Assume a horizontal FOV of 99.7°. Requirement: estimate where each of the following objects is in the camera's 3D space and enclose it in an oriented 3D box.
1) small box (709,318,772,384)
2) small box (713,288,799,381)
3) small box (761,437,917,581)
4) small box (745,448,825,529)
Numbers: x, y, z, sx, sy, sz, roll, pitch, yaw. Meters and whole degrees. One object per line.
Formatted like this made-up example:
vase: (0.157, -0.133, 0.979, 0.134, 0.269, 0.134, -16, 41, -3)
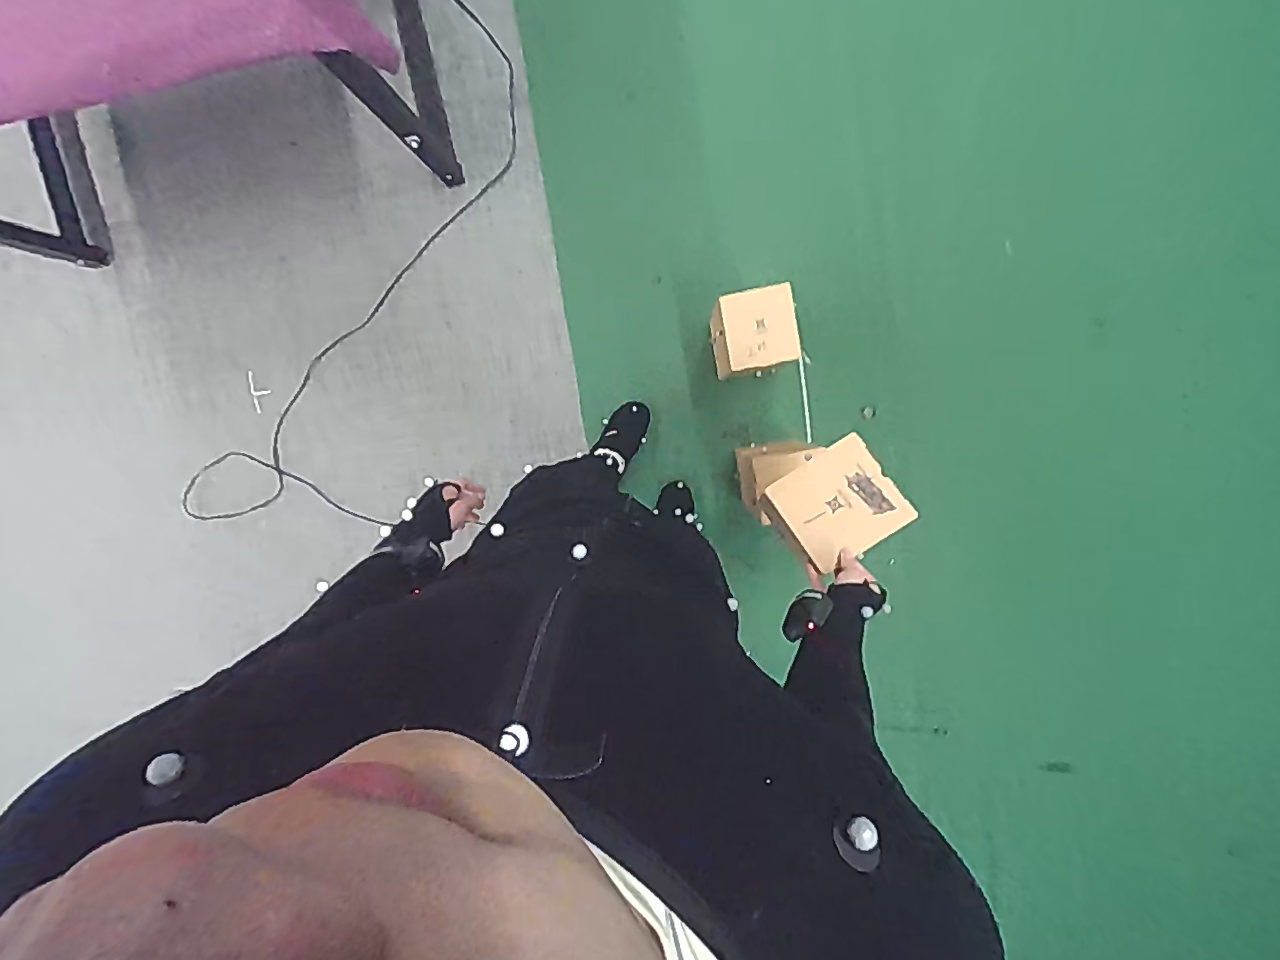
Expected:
small box: (0.289, -0.364, 1.481, 0.179, 0.176, 0.168, -10, 95, 3)
small box: (0.276, -0.347, 1.318, 0.168, 0.176, 0.179, -10, 96, 4)
small box: (0.322, 0.055, 0.920, 0.179, 0.176, 0.168, -34, 77, 3)
small box: (0.364, 0.018, 1.355, 0.179, 0.176, 0.168, -9, 97, 4)
